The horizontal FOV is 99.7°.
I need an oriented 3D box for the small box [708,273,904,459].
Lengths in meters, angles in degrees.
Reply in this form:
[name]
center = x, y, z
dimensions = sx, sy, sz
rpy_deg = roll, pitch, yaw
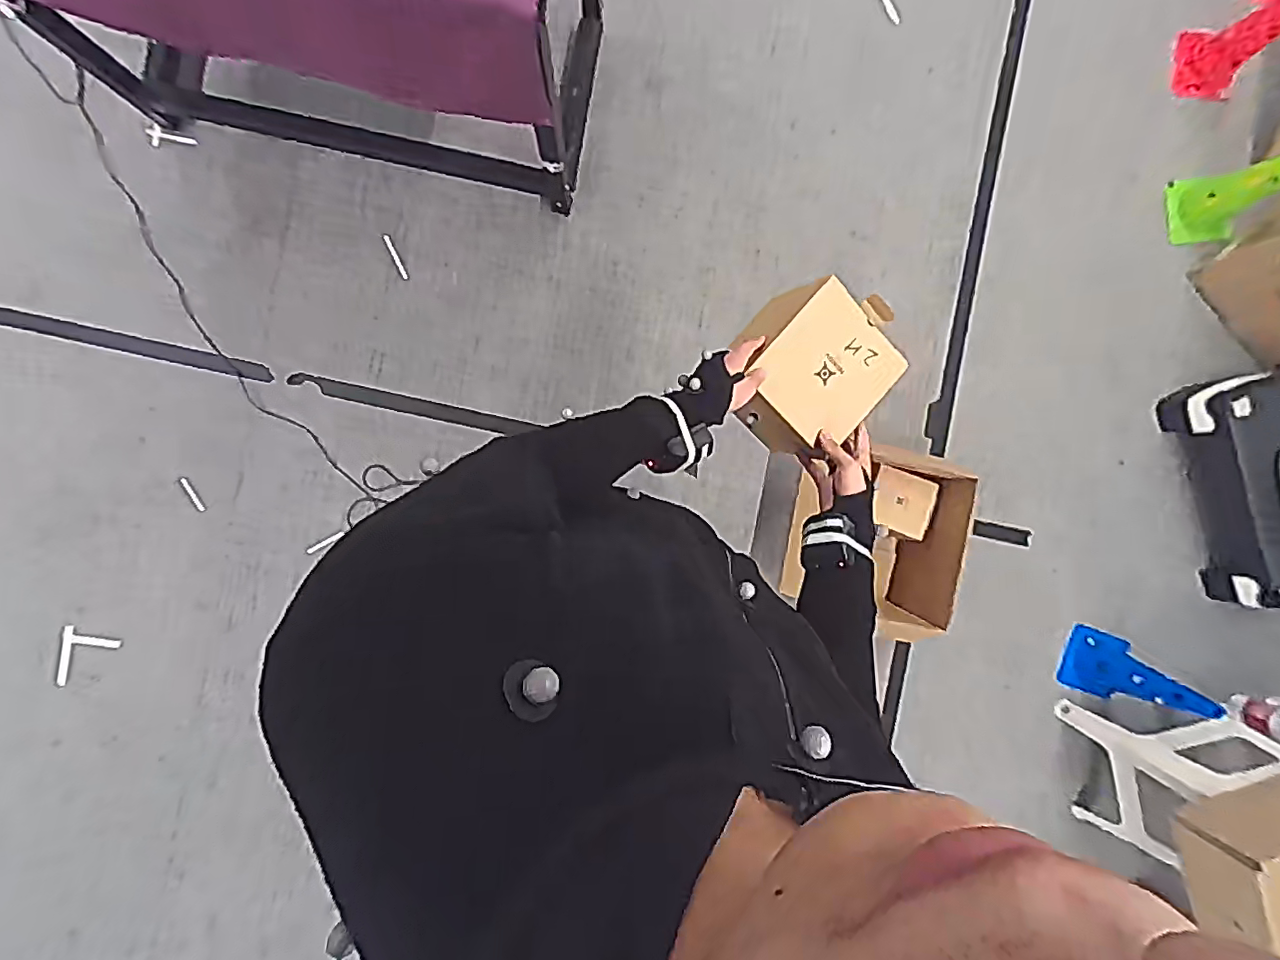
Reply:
[small box]
center = 0.217, -0.153, 0.762
dimensions = 0.168, 0.176, 0.179
rpy_deg = 43, 87, -16
